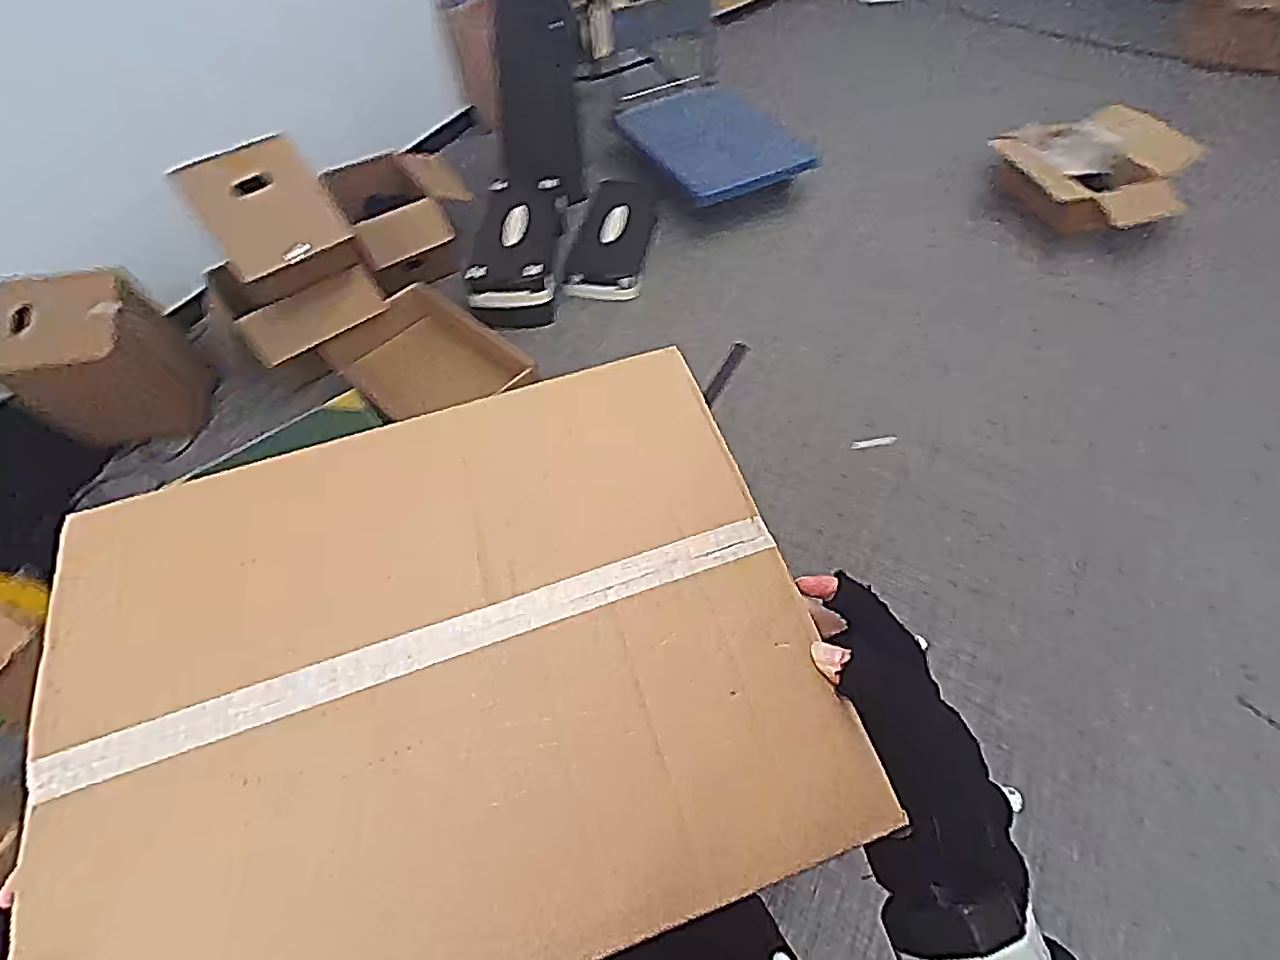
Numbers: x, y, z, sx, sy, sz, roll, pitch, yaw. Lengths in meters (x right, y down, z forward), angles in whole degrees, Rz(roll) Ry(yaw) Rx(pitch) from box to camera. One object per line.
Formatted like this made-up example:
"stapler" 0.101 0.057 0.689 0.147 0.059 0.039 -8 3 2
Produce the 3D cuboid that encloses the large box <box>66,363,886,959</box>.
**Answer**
"large box" -0.104 0.165 0.447 0.408 0.320 0.320 -17 65 -7
